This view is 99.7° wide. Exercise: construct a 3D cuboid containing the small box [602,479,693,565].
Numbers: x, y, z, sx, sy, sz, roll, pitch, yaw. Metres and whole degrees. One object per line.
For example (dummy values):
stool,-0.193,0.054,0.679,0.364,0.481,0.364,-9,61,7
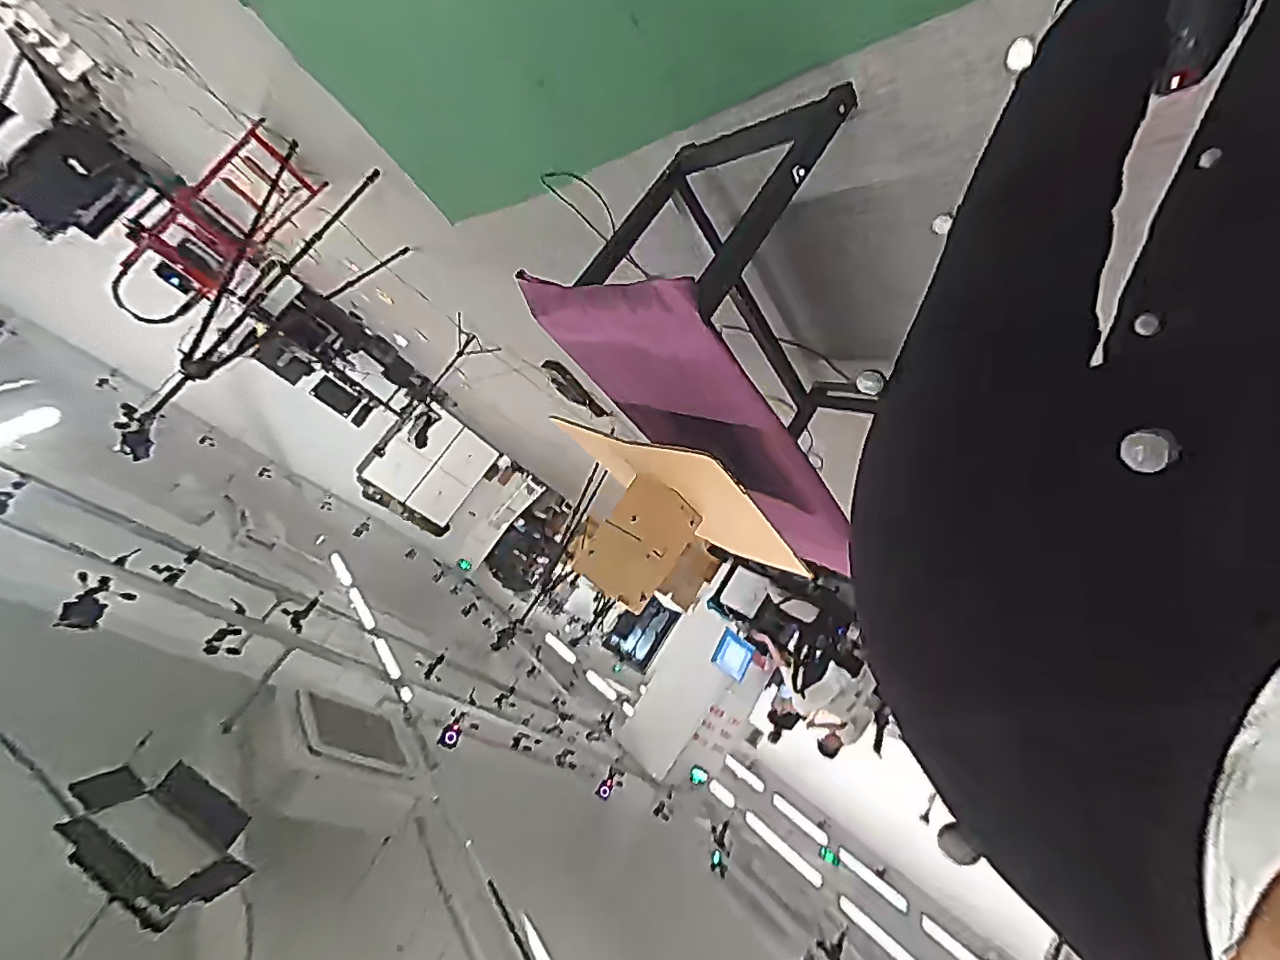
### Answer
small box,0.031,0.116,1.563,0.179,0.176,0.168,19,161,50
